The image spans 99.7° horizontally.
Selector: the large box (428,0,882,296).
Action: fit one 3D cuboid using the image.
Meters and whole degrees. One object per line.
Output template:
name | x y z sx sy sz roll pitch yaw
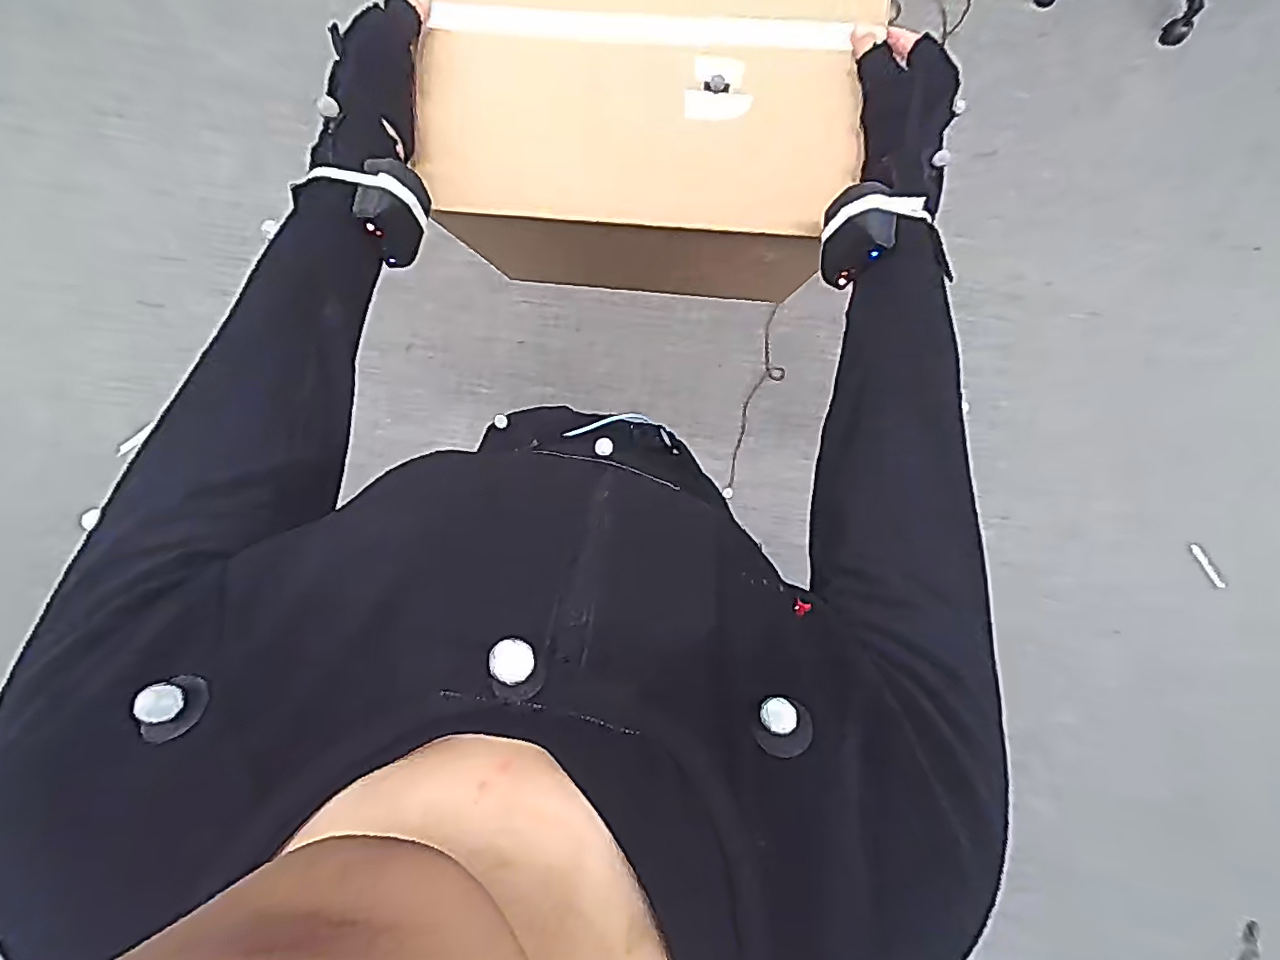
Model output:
large box | 0.013 -0.410 0.625 0.408 0.320 0.320 5 99 2
